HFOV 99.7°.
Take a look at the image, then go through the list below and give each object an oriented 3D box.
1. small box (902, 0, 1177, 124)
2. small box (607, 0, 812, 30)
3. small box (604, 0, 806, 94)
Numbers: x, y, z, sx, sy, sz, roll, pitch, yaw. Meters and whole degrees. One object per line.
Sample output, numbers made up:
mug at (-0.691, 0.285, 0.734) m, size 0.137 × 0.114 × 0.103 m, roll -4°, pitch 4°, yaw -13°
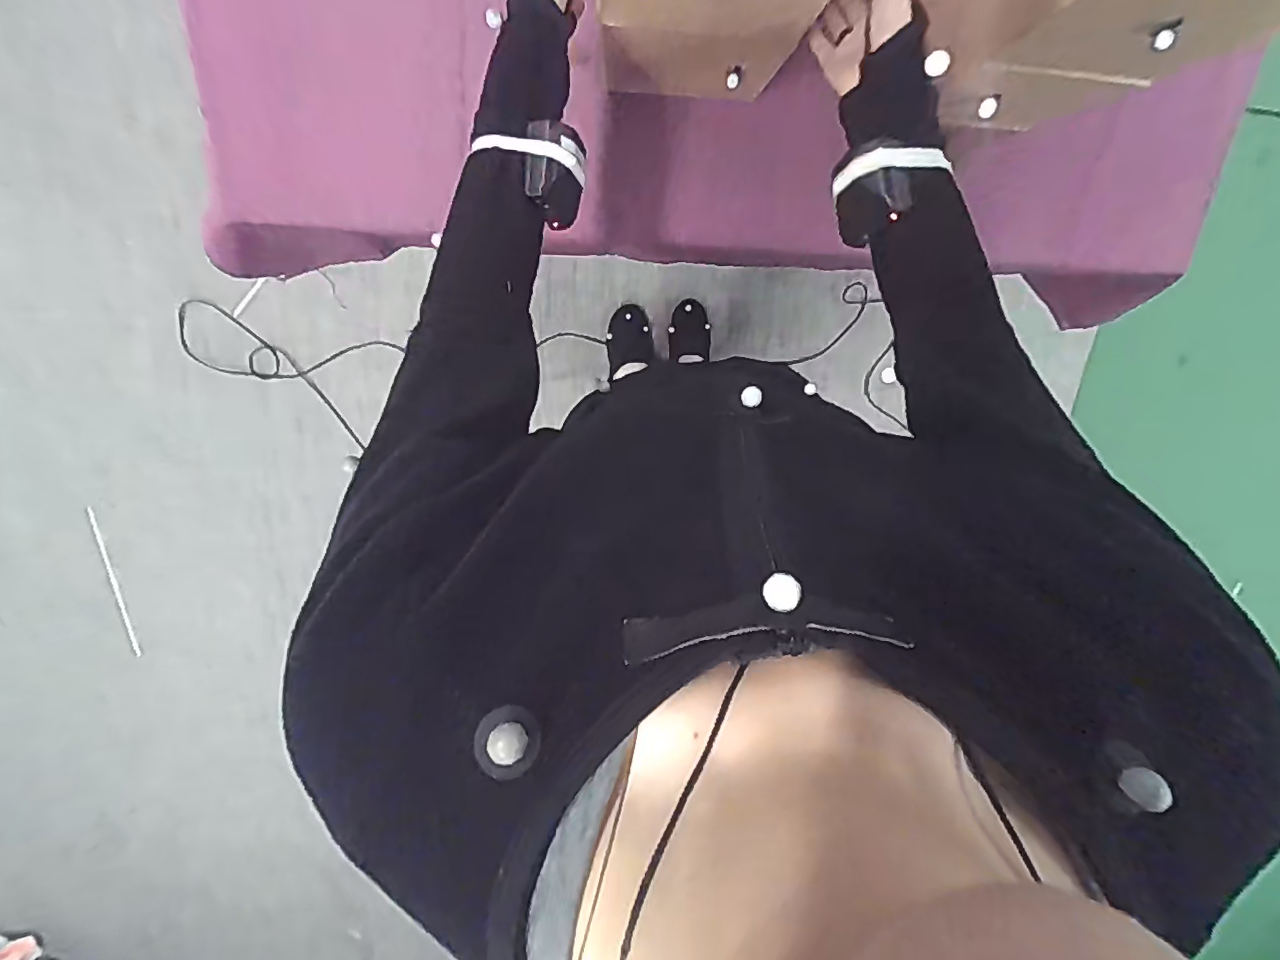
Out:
small box at (0.390, -0.480, 0.537) m, size 0.168 × 0.176 × 0.179 m, roll 3°, pitch 109°, yaw -5°
small box at (0.062, -0.437, 0.358) m, size 0.179 × 0.176 × 0.168 m, roll 2°, pitch 109°, yaw -4°
small box at (0.056, -0.493, 0.513) m, size 0.179 × 0.176 × 0.168 m, roll 2°, pitch 108°, yaw -4°
